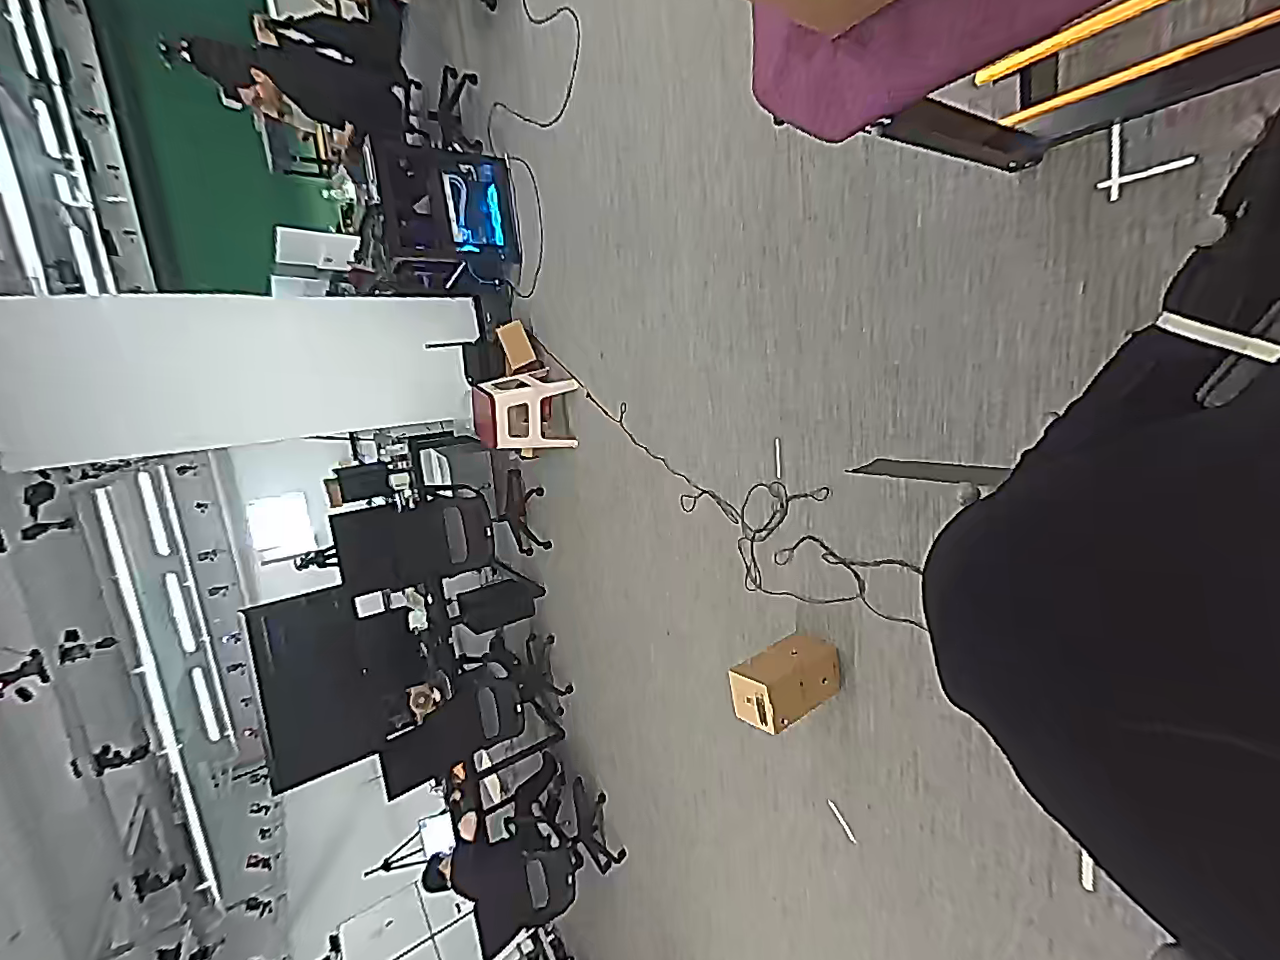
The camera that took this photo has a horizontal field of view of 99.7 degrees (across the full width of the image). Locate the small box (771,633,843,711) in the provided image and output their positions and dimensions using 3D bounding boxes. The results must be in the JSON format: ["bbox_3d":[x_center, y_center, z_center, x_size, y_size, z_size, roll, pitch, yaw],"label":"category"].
[{"bbox_3d":[0.571,0.641,1.832,0.179,0.176,0.168,7,107,56],"label":"small box"}]
